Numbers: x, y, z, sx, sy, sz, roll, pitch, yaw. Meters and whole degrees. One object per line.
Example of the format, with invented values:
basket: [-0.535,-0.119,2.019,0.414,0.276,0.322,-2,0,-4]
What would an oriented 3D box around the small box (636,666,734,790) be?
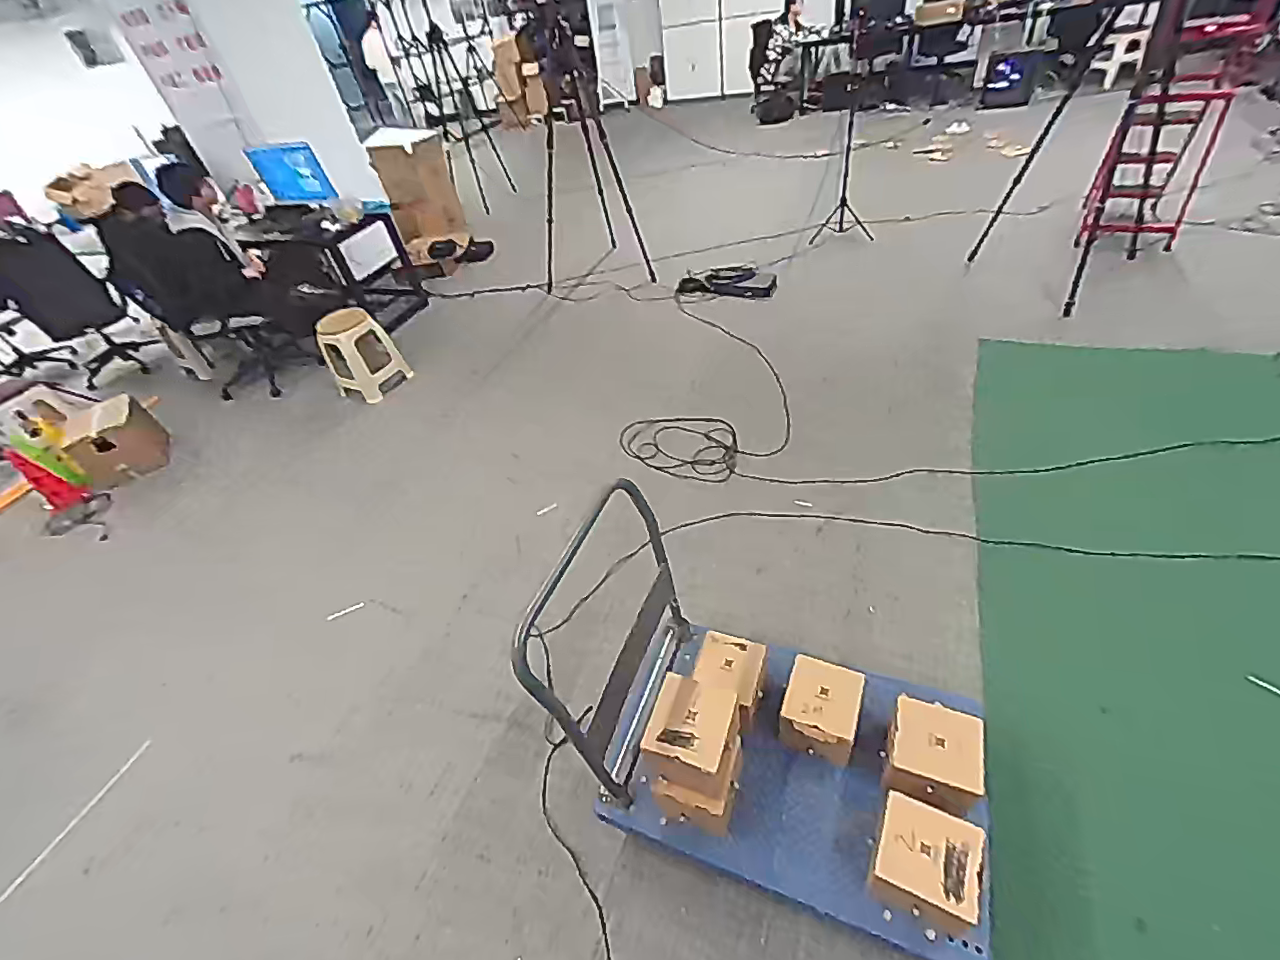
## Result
small box: [0.109,0.550,1.195,0.168,0.176,0.179,11,46,21]

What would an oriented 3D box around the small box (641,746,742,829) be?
small box: [0.126,0.690,1.297,0.168,0.176,0.179,-34,46,-20]

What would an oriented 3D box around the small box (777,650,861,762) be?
small box: [0.442,0.564,1.350,0.168,0.176,0.179,12,48,25]

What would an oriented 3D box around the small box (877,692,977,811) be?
small box: [0.653,0.625,1.240,0.179,0.176,0.168,11,48,23]
